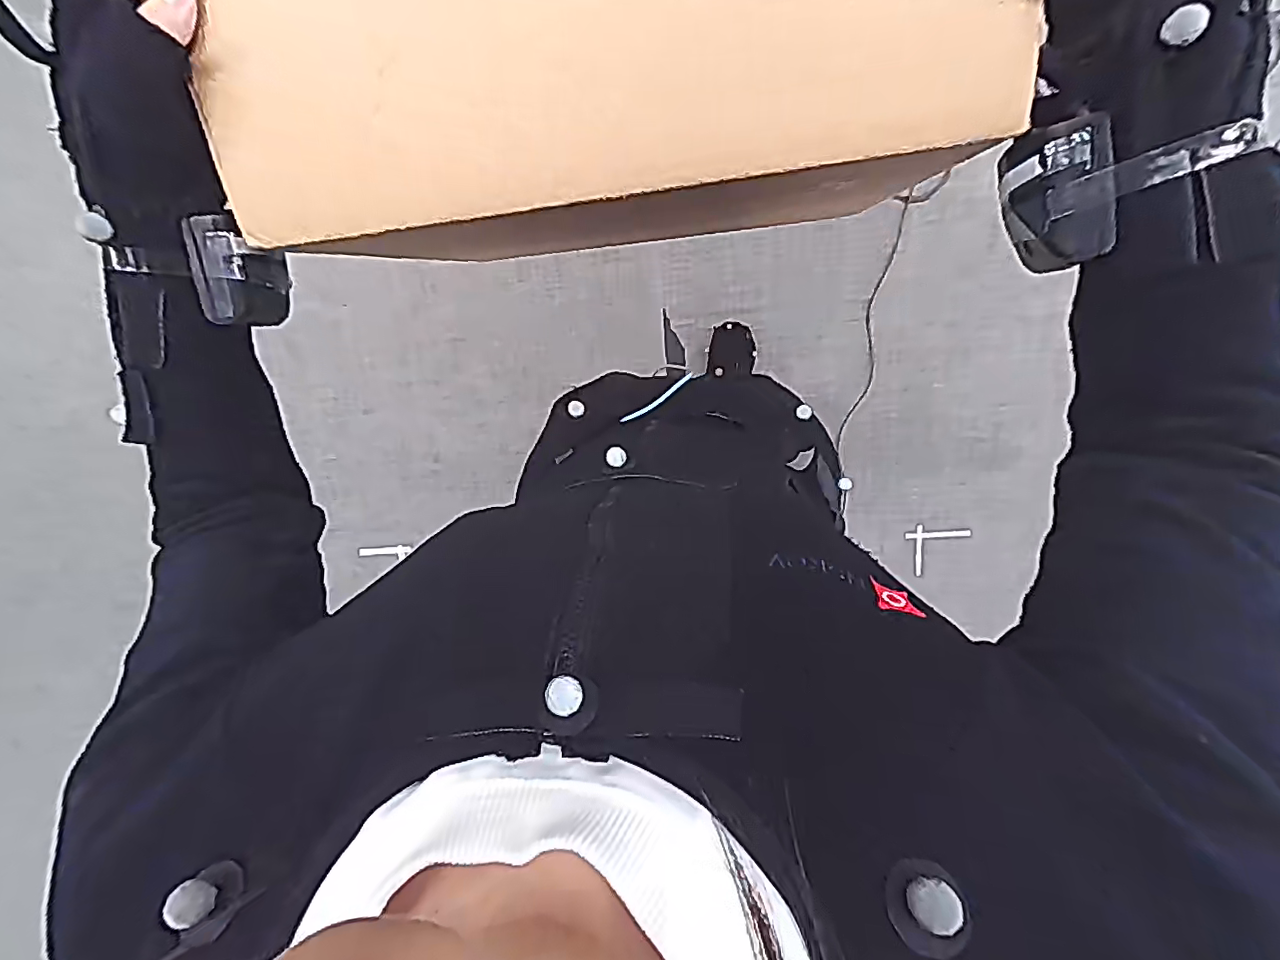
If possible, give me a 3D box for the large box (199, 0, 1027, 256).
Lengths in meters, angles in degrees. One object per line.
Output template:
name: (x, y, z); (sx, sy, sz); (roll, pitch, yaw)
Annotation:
large box: (-0.020, -0.353, 0.374); (0.408, 0.320, 0.320); (-4, 111, 9)
